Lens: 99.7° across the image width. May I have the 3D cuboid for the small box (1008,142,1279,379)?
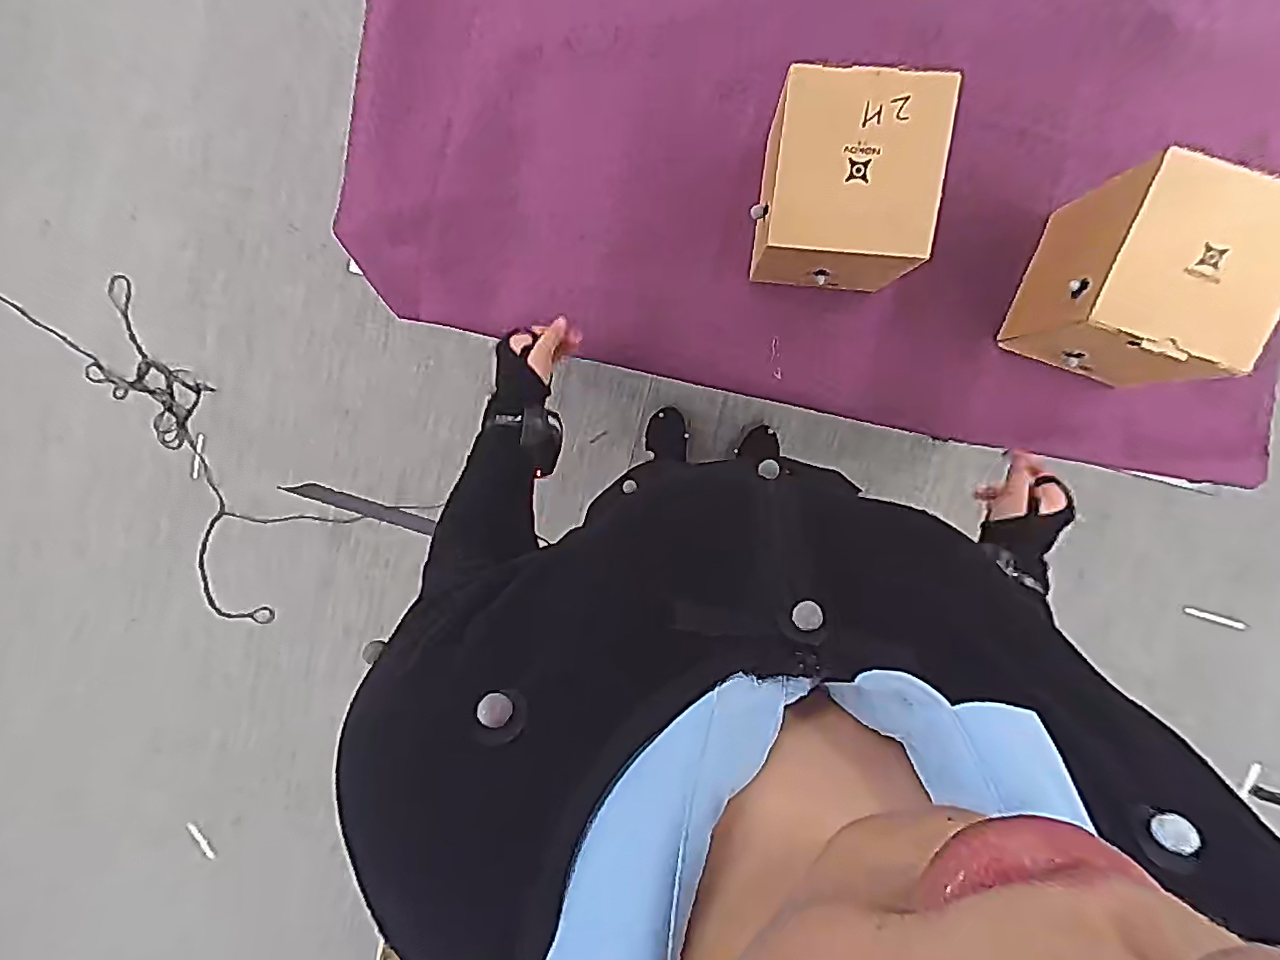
[{"bbox_3d":[0.557,-0.223,0.599,0.168,0.176,0.179,20,98,3],"label":"small box"}]

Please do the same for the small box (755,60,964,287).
[{"bbox_3d":[0.229,-0.329,0.616,0.168,0.176,0.179,7,98,4],"label":"small box"}]
